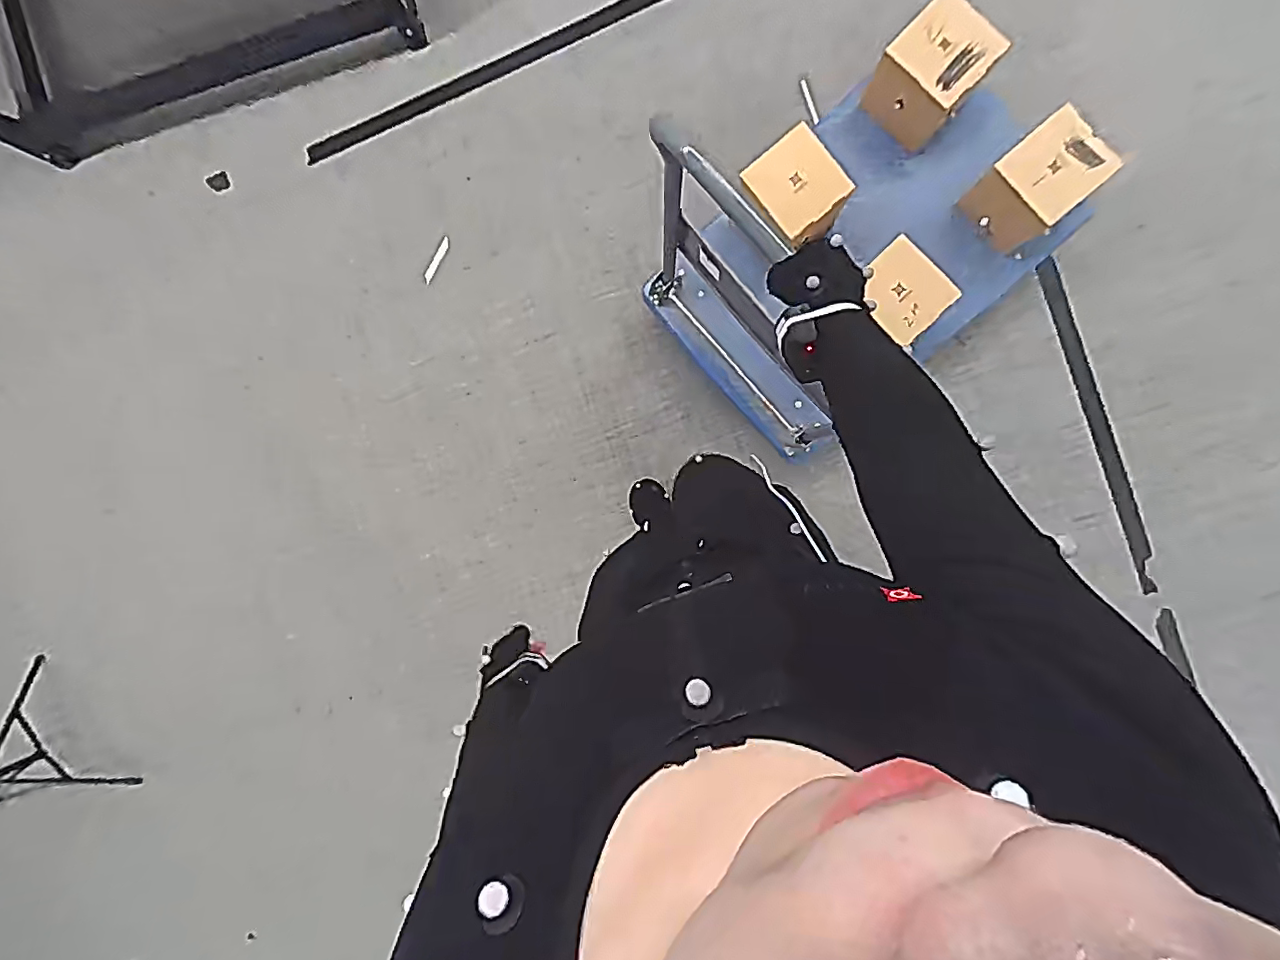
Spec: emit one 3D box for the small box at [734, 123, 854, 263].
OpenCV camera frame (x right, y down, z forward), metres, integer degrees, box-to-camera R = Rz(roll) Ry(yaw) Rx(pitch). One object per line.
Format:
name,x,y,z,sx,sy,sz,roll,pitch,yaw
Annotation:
small box,0.323,-0.612,1.179,0.168,0.176,0.179,-38,90,5

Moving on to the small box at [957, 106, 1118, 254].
small box,0.818,-0.616,1.134,0.179,0.176,0.168,-40,89,7

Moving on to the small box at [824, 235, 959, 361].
small box,0.529,-0.381,1.170,0.168,0.176,0.179,-43,88,6
